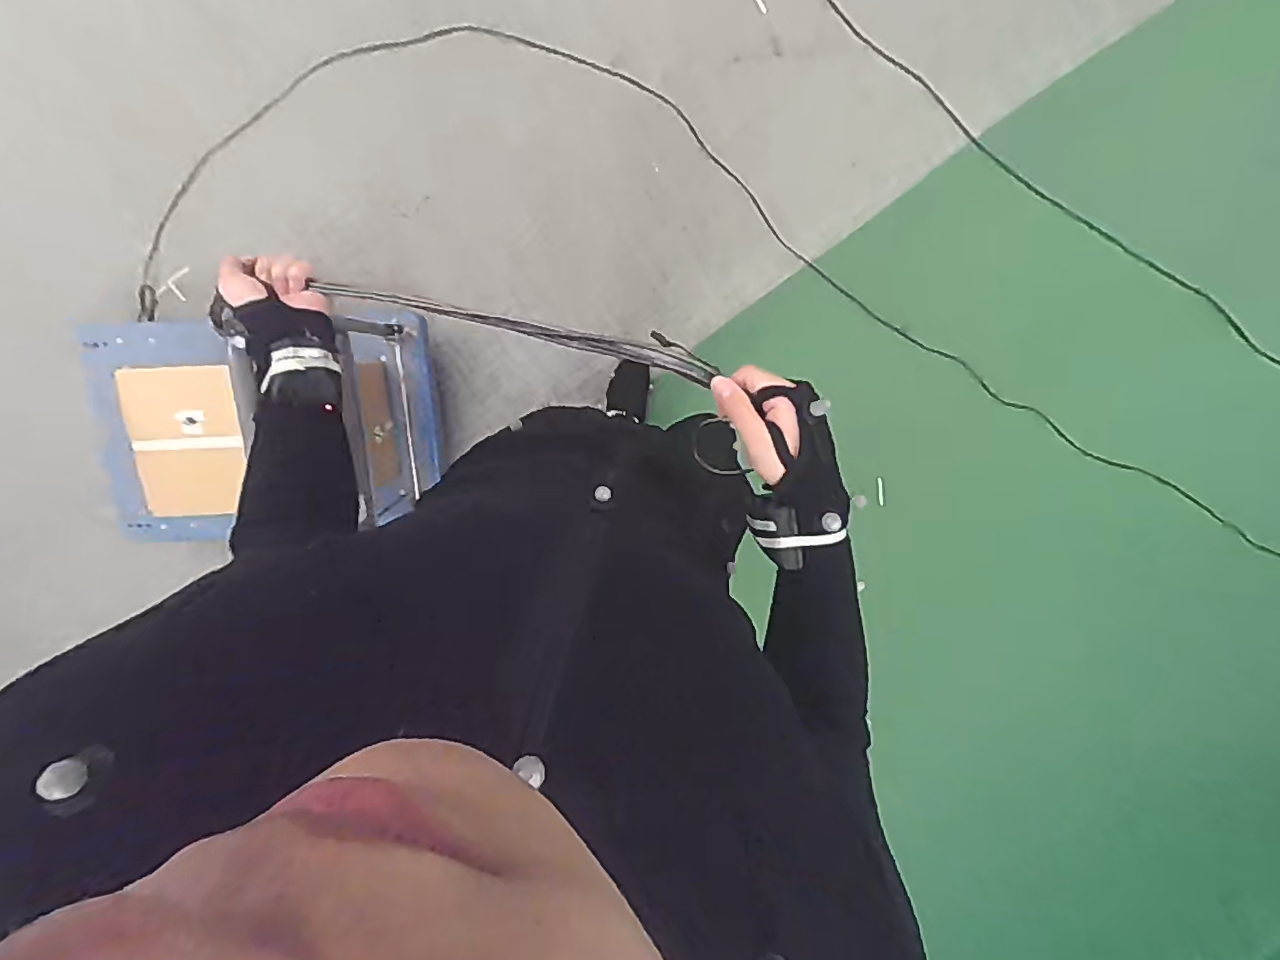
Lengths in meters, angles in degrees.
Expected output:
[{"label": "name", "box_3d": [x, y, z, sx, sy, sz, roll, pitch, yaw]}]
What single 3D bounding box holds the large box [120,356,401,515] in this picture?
[{"label": "large box", "box_3d": [-0.836, -0.118, 1.256, 0.408, 0.320, 0.320, -2, 102, 1]}]
